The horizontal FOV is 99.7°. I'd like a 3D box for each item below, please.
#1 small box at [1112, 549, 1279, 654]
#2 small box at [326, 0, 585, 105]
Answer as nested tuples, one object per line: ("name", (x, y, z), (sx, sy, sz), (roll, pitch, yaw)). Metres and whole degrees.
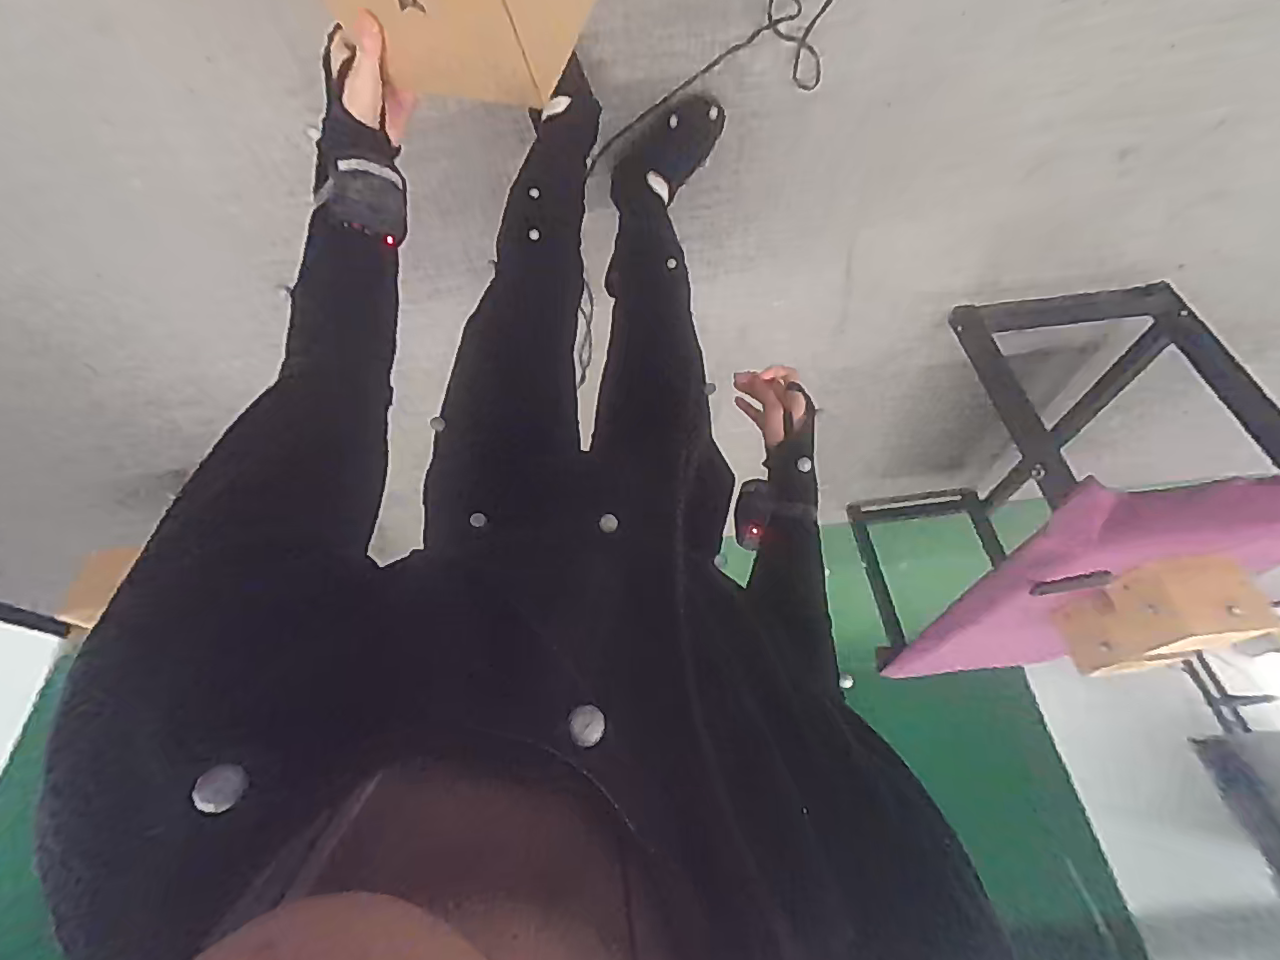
("small box", (1.197, 0.264, 1.174), (0.179, 0.176, 0.168), (-8, 148, 3))
("small box", (-0.134, -0.416, 0.378), (0.168, 0.176, 0.179), (17, 168, 12))
